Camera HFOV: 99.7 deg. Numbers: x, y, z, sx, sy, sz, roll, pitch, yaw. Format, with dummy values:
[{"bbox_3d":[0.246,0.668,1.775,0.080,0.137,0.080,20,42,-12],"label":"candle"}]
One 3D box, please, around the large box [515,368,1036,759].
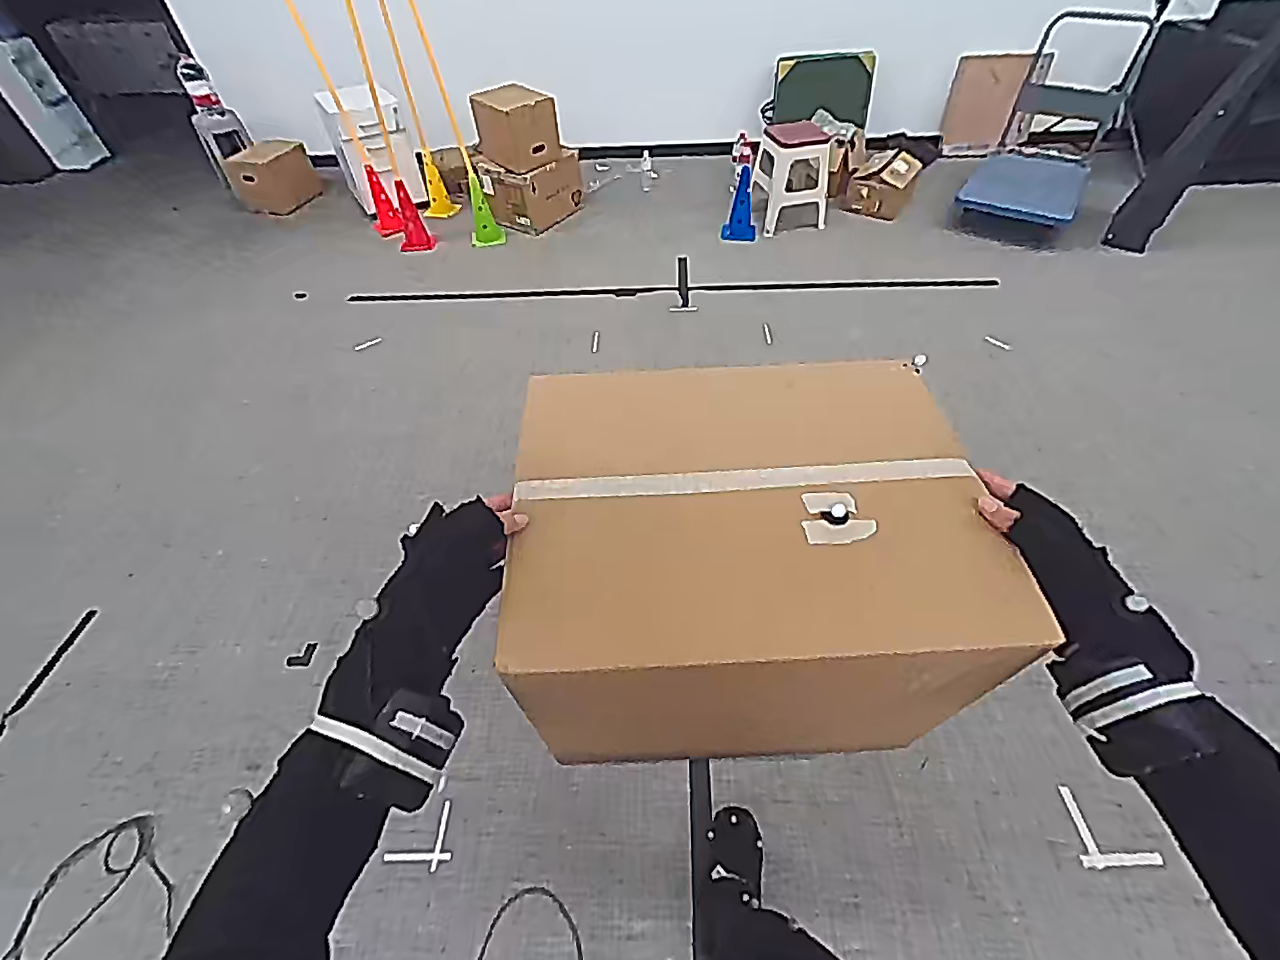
[{"bbox_3d":[0.095,0.100,0.609,0.408,0.320,0.320,-3,52,-1],"label":"large box"}]
